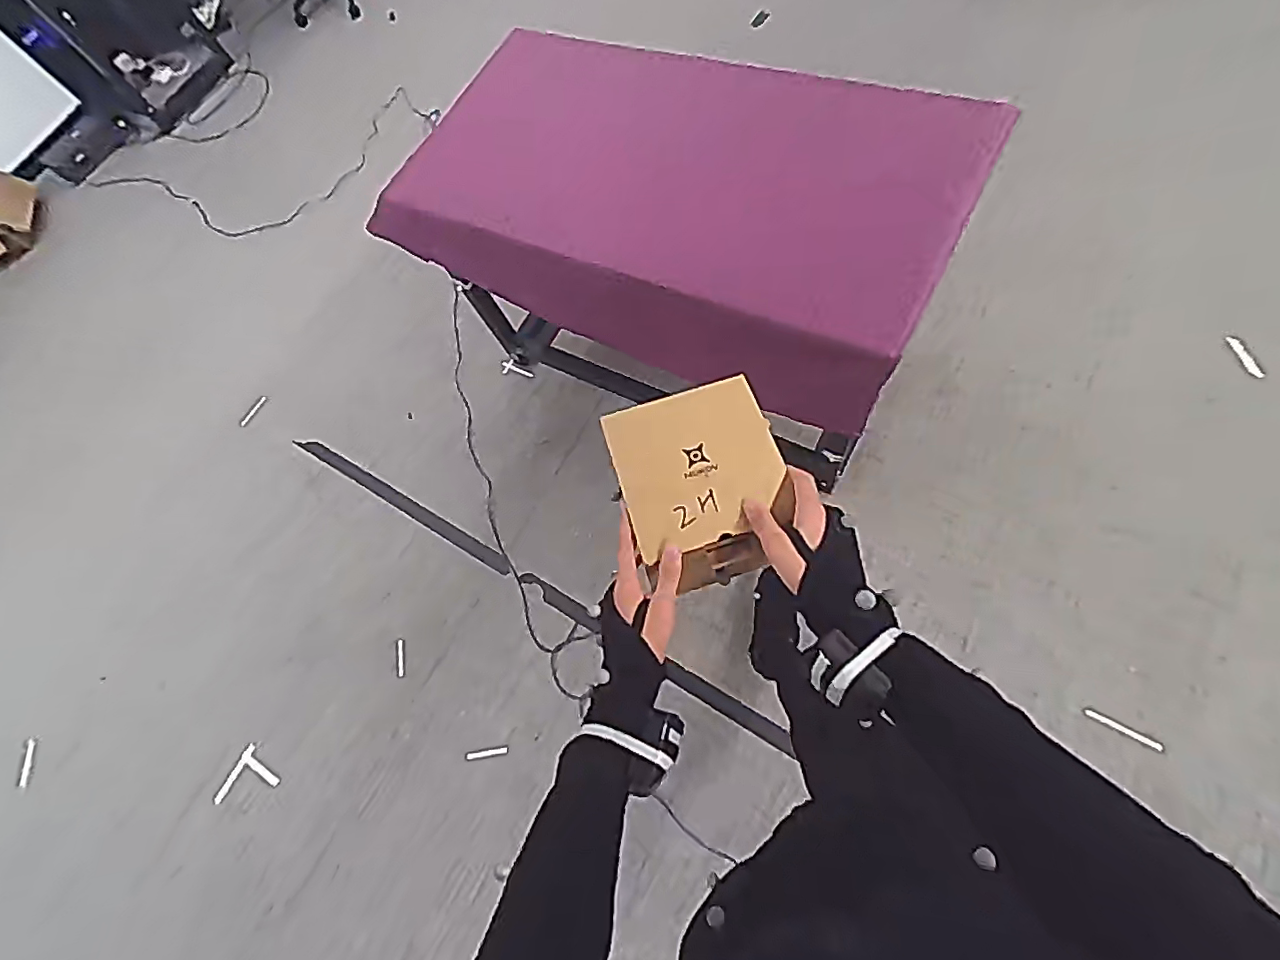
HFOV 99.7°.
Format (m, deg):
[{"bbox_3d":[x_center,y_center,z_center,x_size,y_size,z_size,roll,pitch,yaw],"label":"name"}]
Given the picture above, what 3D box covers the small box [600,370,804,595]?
[{"bbox_3d":[0.063,0.011,0.616,0.168,0.176,0.179,-18,65,-2],"label":"small box"}]
